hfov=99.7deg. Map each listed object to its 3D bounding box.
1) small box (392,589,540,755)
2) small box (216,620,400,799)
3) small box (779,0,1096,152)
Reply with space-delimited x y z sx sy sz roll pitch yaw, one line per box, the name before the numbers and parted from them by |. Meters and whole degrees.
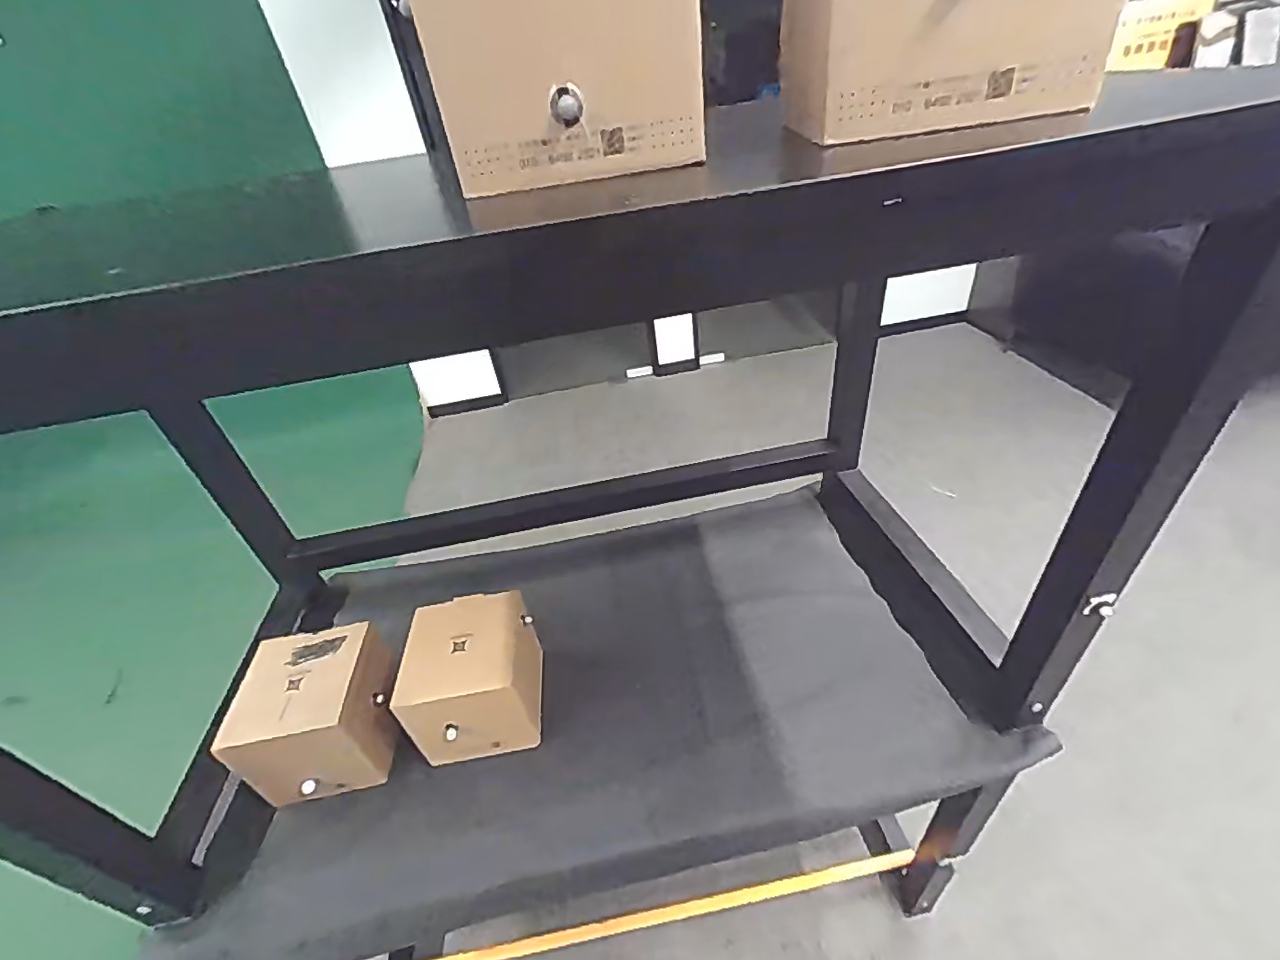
small box | -0.254 0.302 0.840 0.168 0.176 0.179 -9 36 -2
small box | -0.476 0.345 0.820 0.168 0.176 0.179 -10 37 -3
small box | 0.193 -0.338 0.377 0.168 0.176 0.179 -4 36 6
